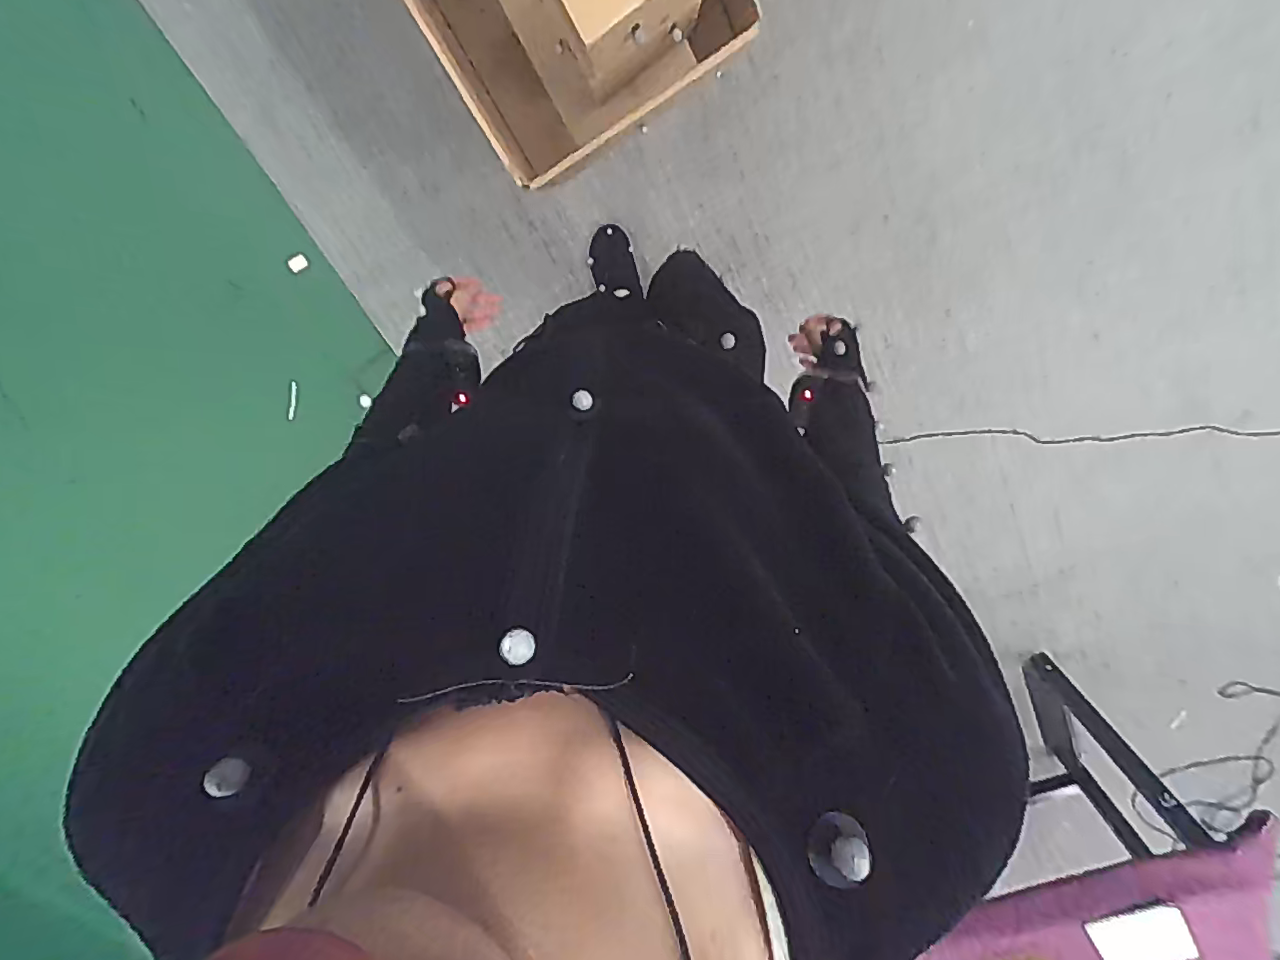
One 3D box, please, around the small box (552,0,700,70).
[{"bbox_3d":[-0.031,-0.586,0.585,0.168,0.176,0.179,-28,112,13],"label":"small box"}]
